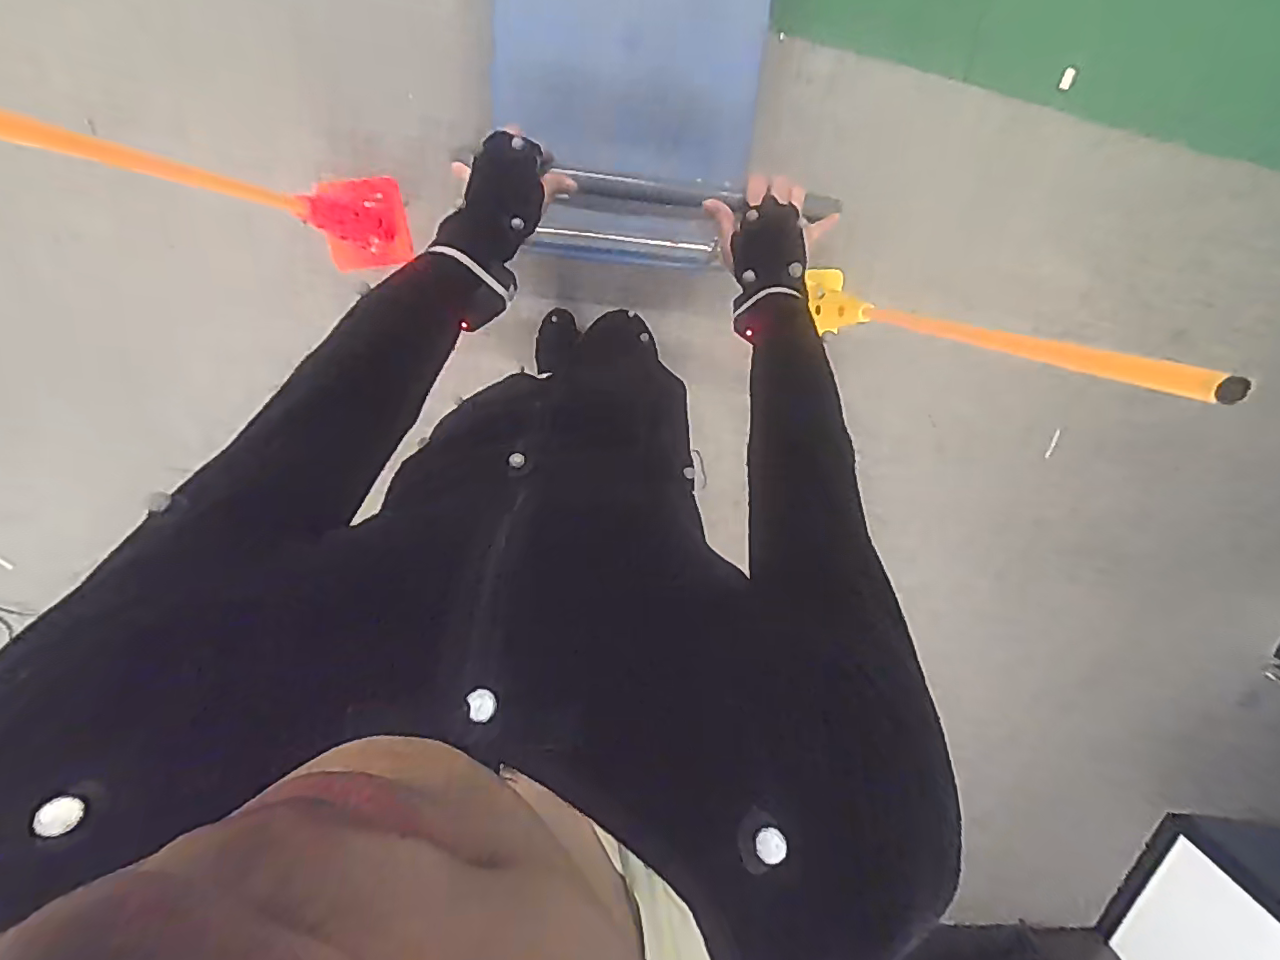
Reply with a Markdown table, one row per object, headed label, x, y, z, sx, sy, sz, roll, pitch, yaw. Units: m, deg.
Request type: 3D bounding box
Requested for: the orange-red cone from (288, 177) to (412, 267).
| label | x | y | z | sx | sy | sz | roll | pitch | yaw |
| --- | --- | --- | --- | --- | --- | --- | --- | --- | --- |
| orange-red cone | -0.667 | -0.584 | 1.189 | 0.199 | 0.360 | 0.198 | -6 | 110 | -3 |
